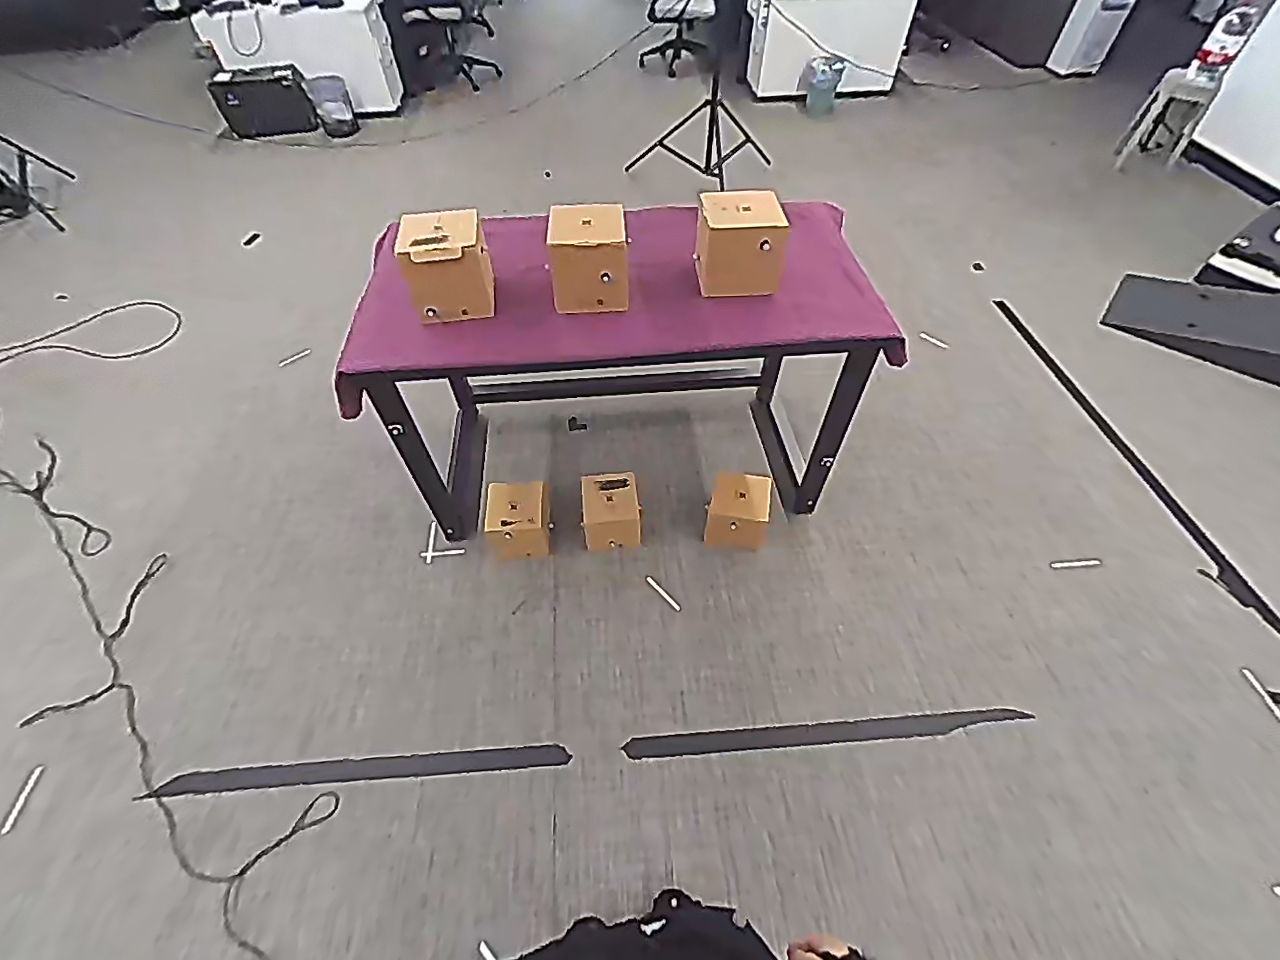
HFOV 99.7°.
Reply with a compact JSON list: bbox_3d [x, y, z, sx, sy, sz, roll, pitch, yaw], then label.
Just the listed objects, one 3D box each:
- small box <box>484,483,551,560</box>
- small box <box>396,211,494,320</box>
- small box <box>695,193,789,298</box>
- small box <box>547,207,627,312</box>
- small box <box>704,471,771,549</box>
[{"bbox_3d":[-0.370,0.130,1.667,0.168,0.176,0.179,-3,51,-1],"label":"small box"},{"bbox_3d":[-0.426,-0.472,1.208,0.168,0.176,0.179,-8,51,-6],"label":"small box"},{"bbox_3d":[0.228,-0.544,1.260,0.179,0.176,0.168,-3,51,-1],"label":"small box"},{"bbox_3d":[-0.116,-0.496,1.228,0.168,0.176,0.179,-3,50,-3],"label":"small box"},{"bbox_3d":[0.303,0.097,1.688,0.179,0.176,0.168,8,54,9],"label":"small box"}]
